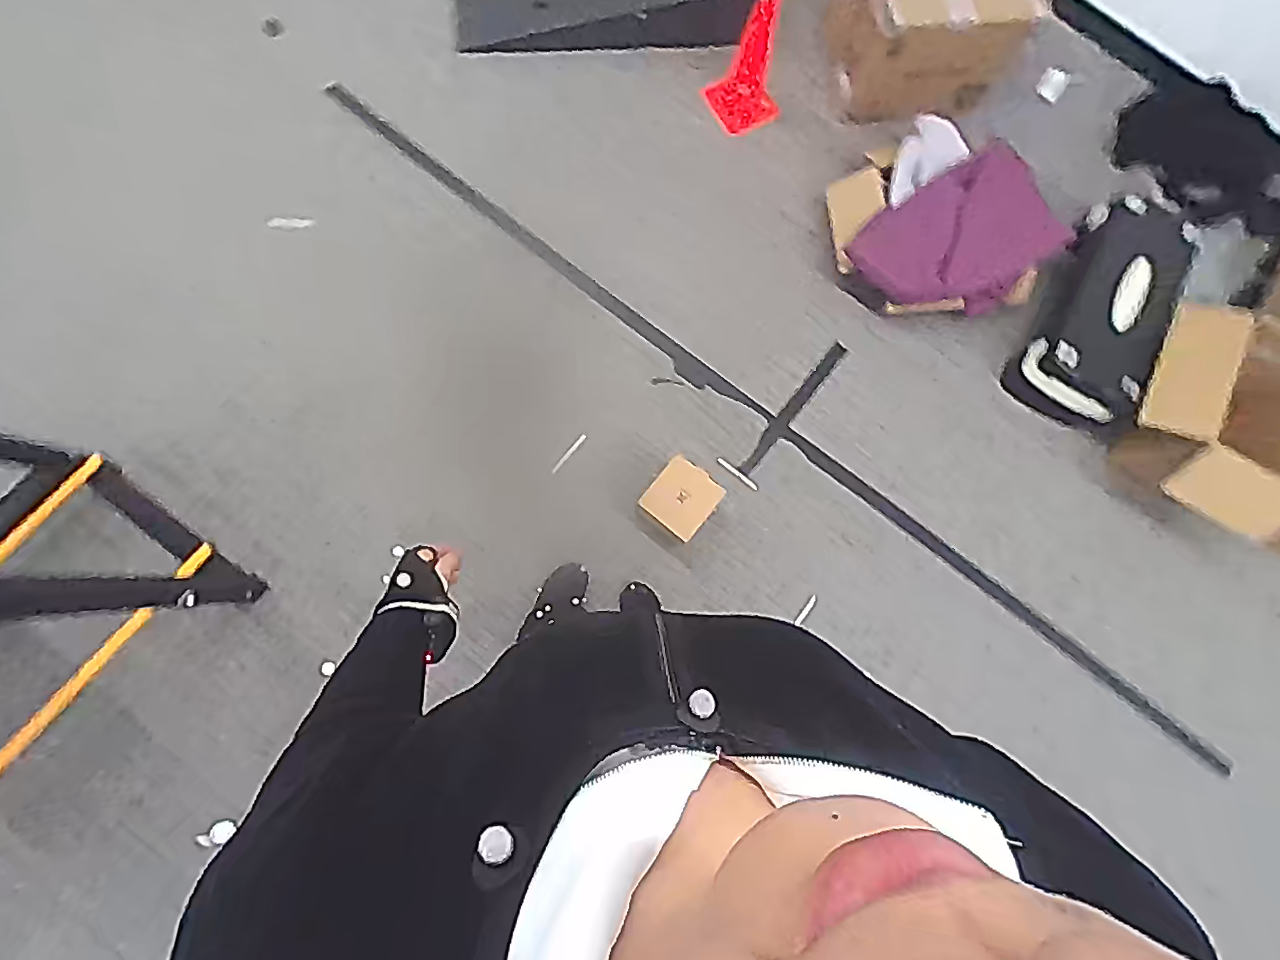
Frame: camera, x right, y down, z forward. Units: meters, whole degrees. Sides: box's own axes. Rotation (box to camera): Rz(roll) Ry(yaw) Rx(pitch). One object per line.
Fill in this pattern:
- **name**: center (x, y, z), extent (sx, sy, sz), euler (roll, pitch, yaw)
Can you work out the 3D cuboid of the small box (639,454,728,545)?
- **small box**: center (0.108, 0.058, 1.464), extent (0.168, 0.176, 0.179), euler (39, 81, 4)
